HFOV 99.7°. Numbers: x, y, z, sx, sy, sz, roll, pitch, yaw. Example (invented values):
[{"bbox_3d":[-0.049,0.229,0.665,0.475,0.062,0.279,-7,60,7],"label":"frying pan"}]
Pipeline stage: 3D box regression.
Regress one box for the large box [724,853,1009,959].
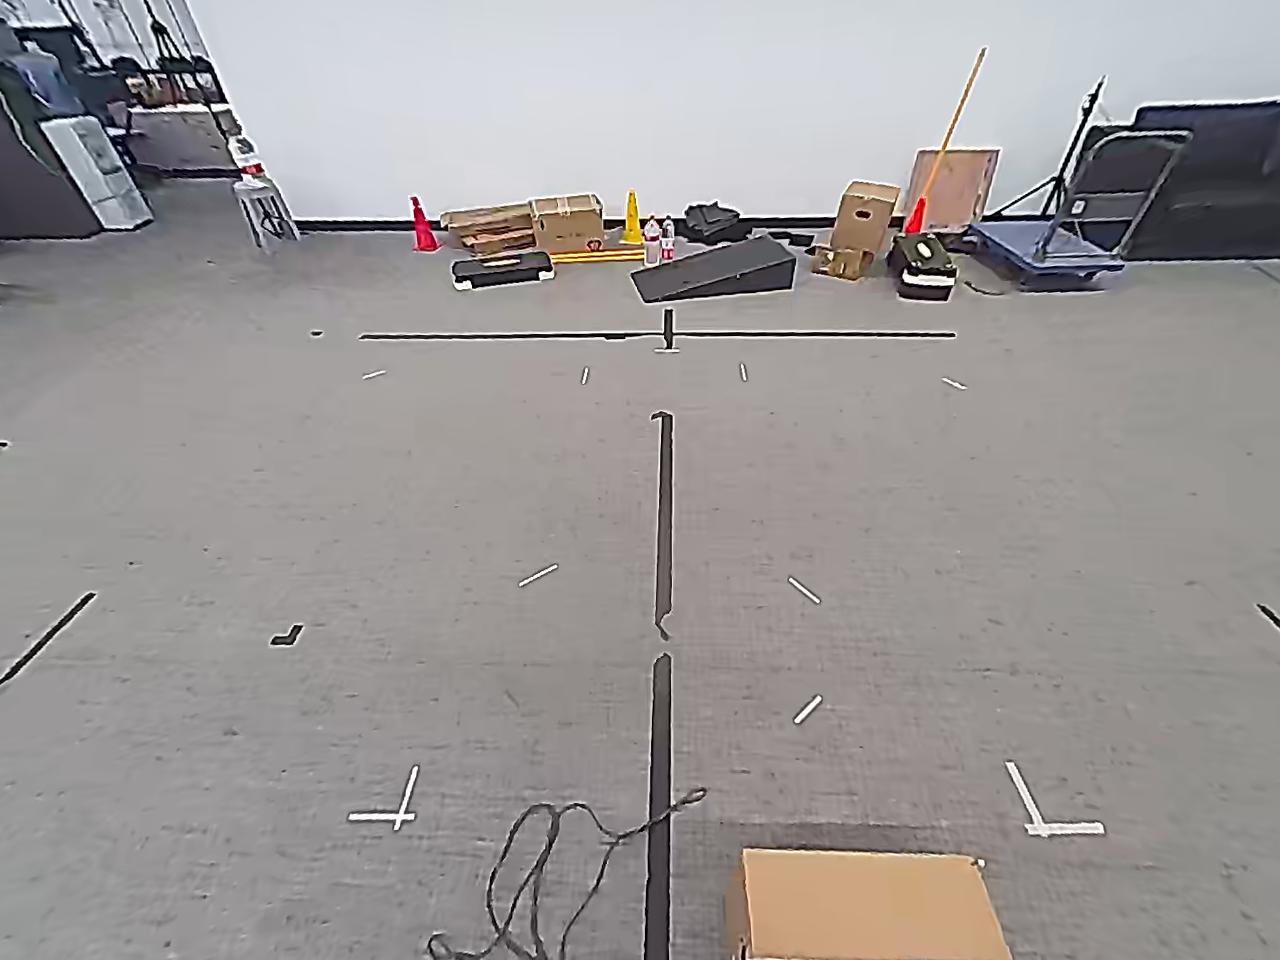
[{"bbox_3d":[0.372,0.868,0.923,0.408,0.320,0.320,1,41,1],"label":"large box"}]
